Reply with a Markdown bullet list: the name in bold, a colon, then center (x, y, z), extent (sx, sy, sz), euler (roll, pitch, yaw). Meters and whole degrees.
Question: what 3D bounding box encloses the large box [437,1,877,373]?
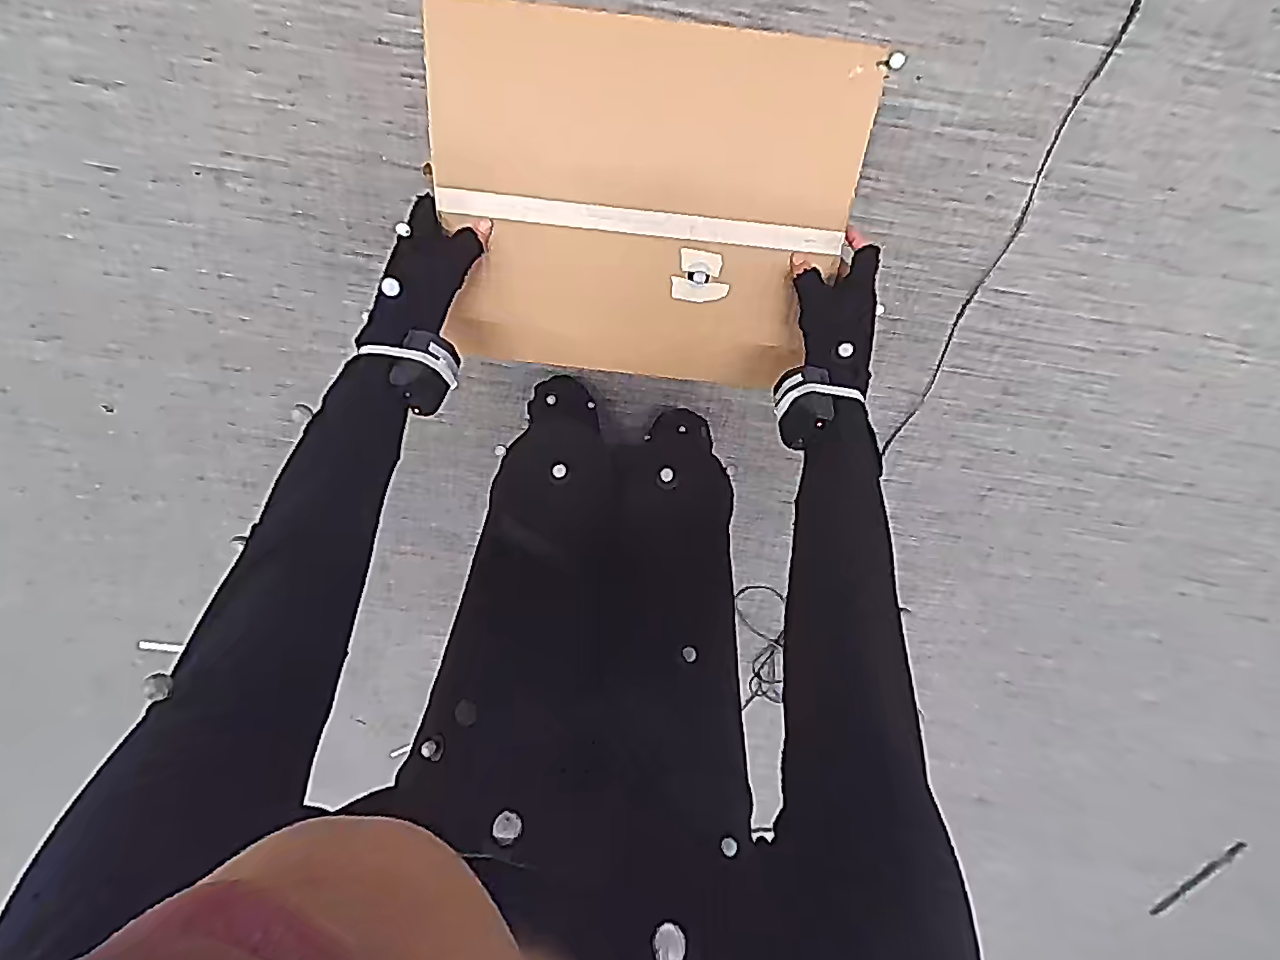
- **large box**: center (0.006, -0.342, 0.682), extent (0.408, 0.320, 0.320), euler (5, 119, -1)
